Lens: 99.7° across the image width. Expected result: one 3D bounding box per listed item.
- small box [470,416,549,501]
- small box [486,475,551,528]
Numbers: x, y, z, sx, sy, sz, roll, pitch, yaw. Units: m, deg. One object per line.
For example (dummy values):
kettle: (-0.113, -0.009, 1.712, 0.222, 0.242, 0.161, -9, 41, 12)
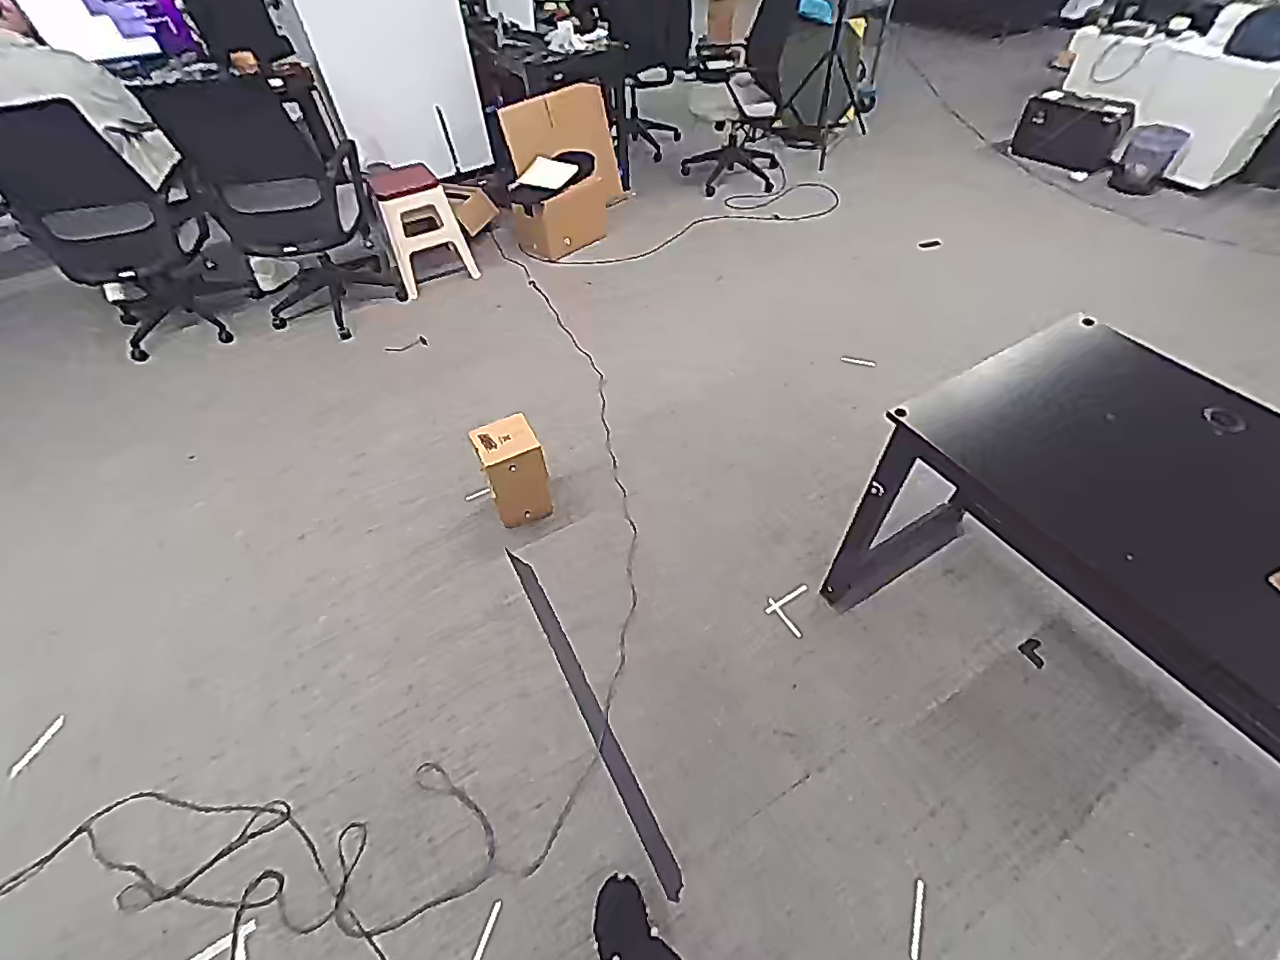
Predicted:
small box: (-0.401, -0.064, 1.686, 0.179, 0.176, 0.168, -24, 54, -17)
small box: (-0.407, 0.032, 1.821, 0.179, 0.176, 0.168, -19, 52, -14)
